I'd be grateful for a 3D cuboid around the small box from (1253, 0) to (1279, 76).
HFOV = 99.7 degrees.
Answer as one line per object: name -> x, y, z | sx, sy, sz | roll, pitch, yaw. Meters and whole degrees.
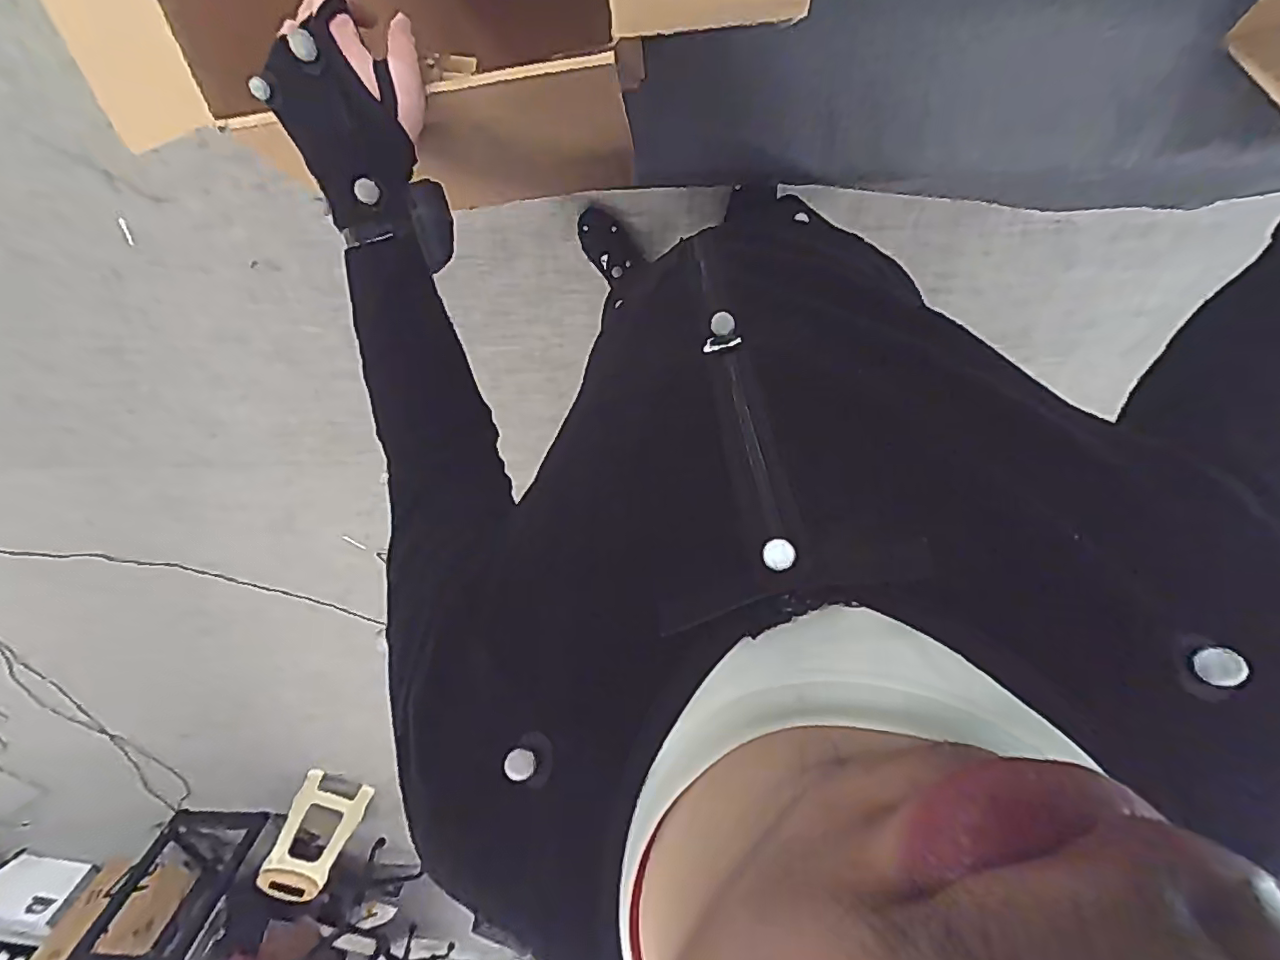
small box -> 0.682, -0.414, 0.439 | 0.168, 0.176, 0.179 | 26, 120, -15
